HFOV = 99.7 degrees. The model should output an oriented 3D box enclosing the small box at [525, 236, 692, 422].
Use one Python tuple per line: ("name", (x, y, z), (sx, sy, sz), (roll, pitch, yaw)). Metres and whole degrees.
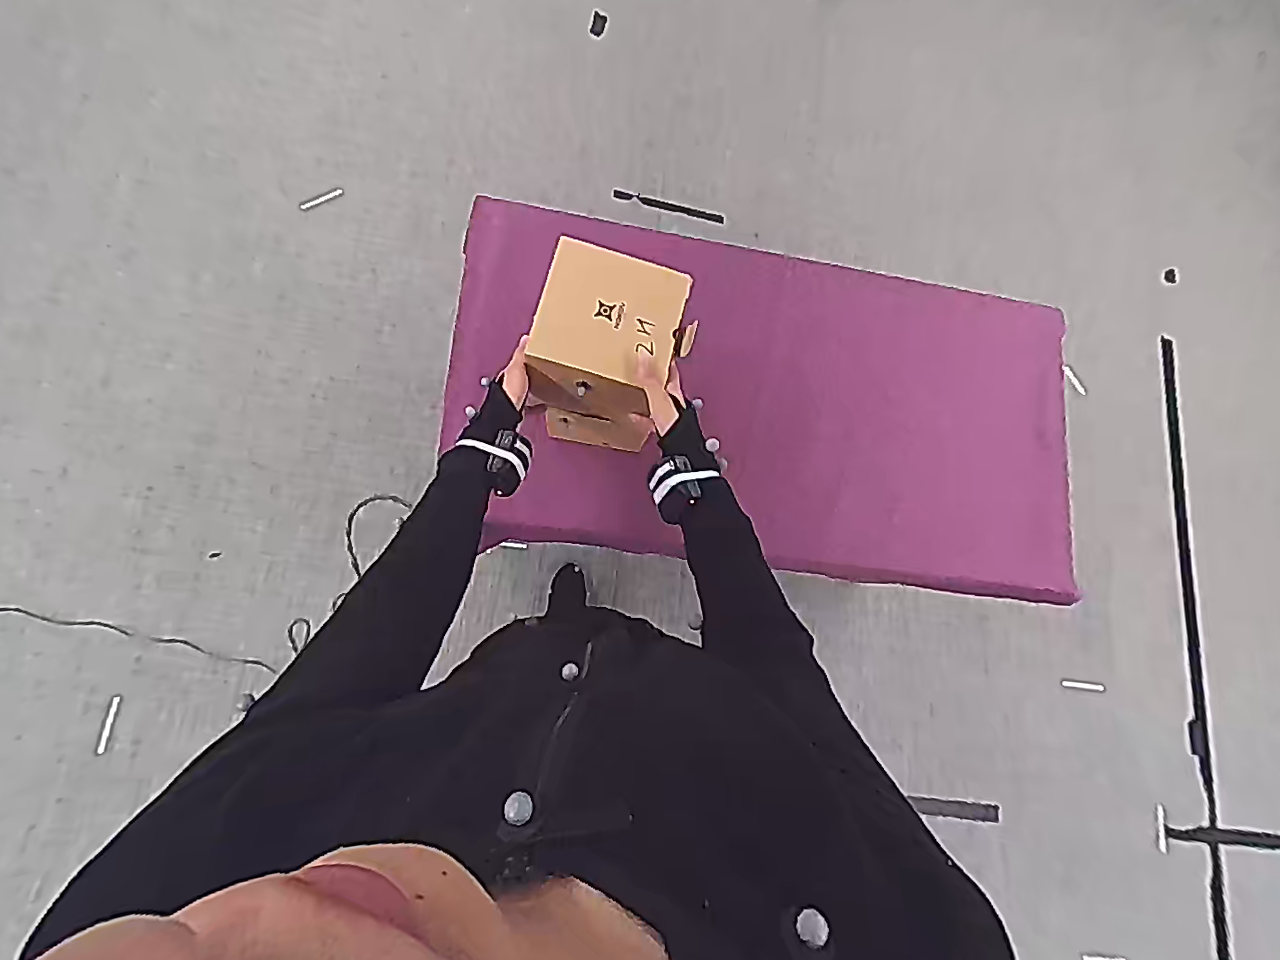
("small box", (-0.047, -0.193, 0.743), (0.179, 0.176, 0.168), (15, 79, -6))
